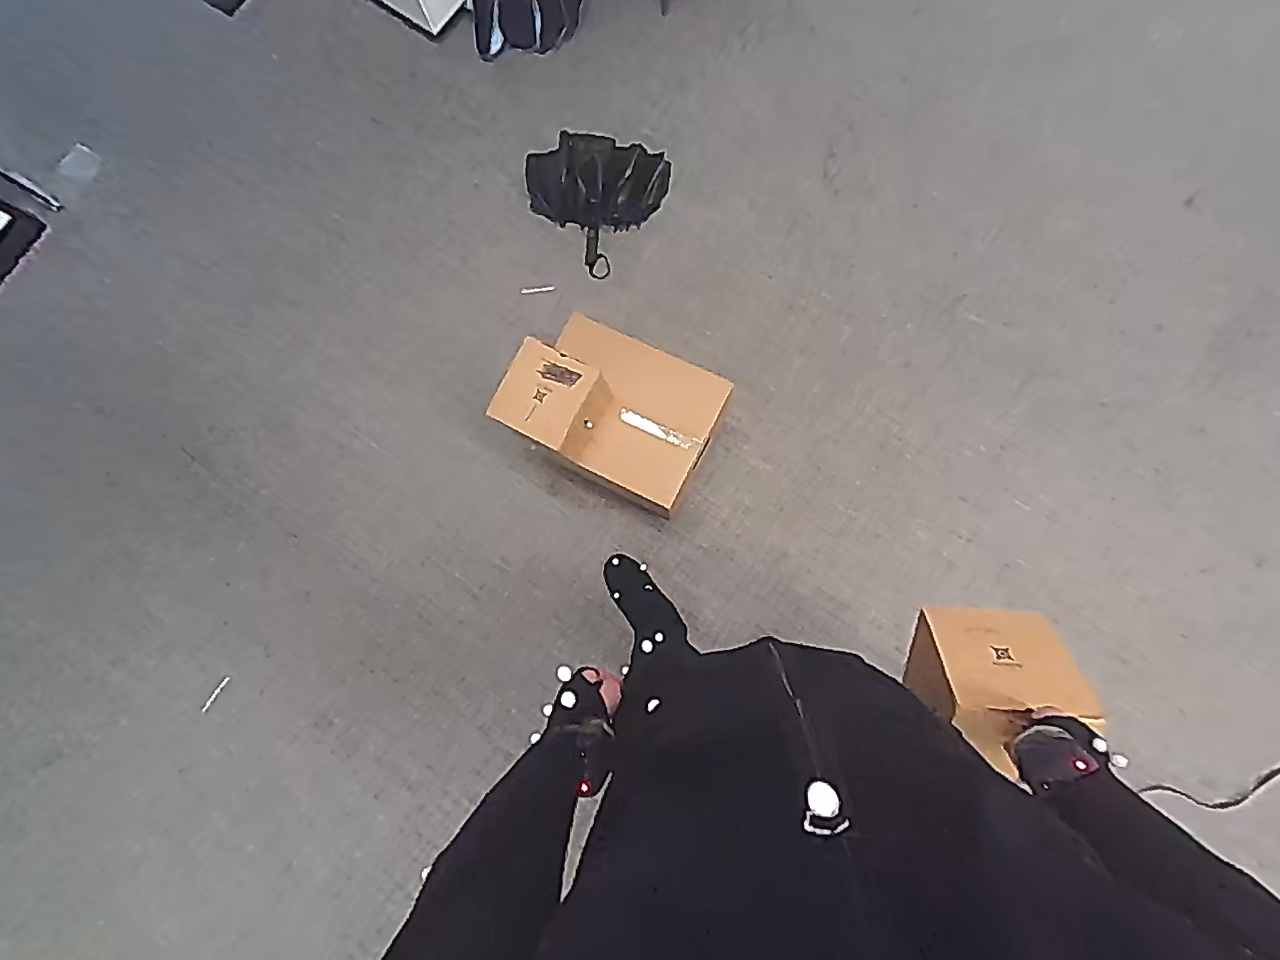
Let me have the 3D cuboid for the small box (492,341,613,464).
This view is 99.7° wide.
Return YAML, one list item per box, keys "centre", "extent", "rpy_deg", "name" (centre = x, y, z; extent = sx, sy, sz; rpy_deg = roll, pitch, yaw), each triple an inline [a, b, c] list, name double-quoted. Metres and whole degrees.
- centre: [-0.168, -0.151, 1.114]
  extent: [0.168, 0.176, 0.179]
  rpy_deg: [28, 88, 9]
  name: "small box"

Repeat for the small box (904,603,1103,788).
- centre: [0.489, 0.299, 0.760]
  extent: [0.168, 0.179, 0.176]
  rpy_deg: [2, 123, 11]
  name: "small box"
